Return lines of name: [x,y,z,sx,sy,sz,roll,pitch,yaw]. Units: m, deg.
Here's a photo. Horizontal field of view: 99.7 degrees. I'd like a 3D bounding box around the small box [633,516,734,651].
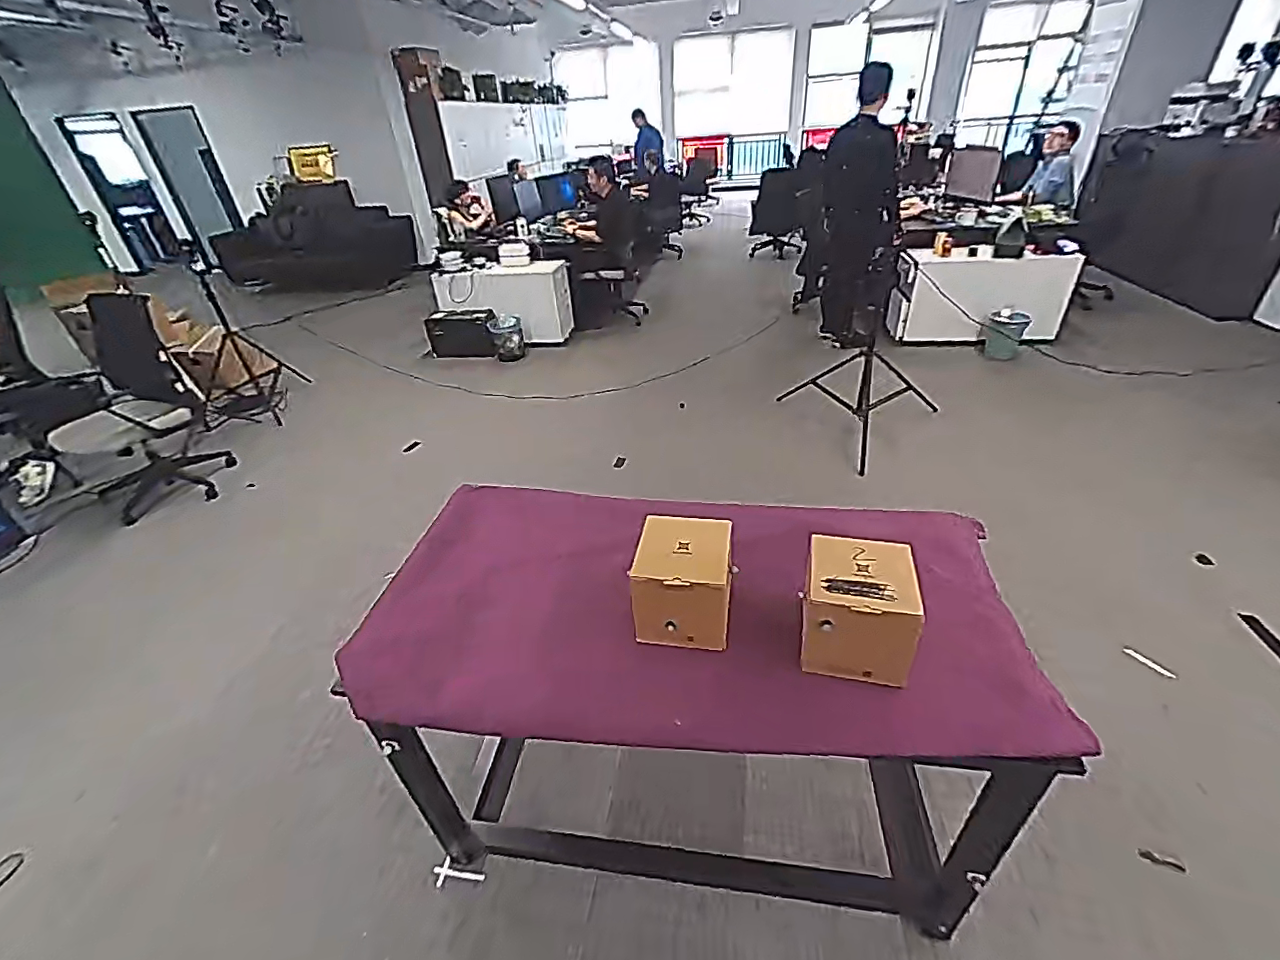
small box: [0.086,0.191,1.020,0.168,0.176,0.179,3,34,11]
